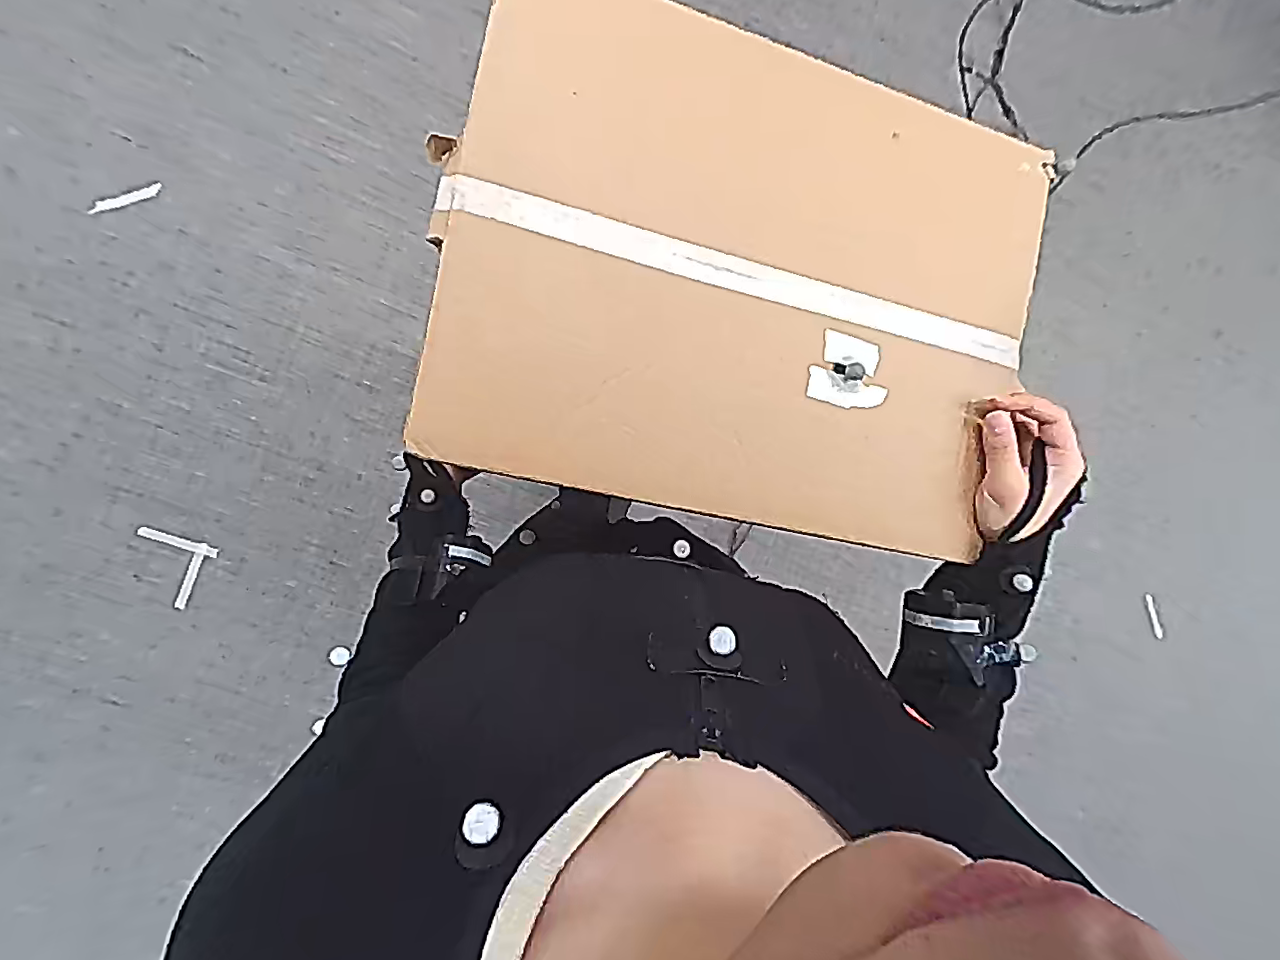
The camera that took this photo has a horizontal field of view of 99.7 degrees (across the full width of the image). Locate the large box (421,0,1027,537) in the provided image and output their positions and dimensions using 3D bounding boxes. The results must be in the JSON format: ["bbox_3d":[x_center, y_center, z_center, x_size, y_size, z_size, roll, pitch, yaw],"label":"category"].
[{"bbox_3d":[0.048,-0.142,0.511,0.408,0.320,0.320,11,90,-13],"label":"large box"}]
